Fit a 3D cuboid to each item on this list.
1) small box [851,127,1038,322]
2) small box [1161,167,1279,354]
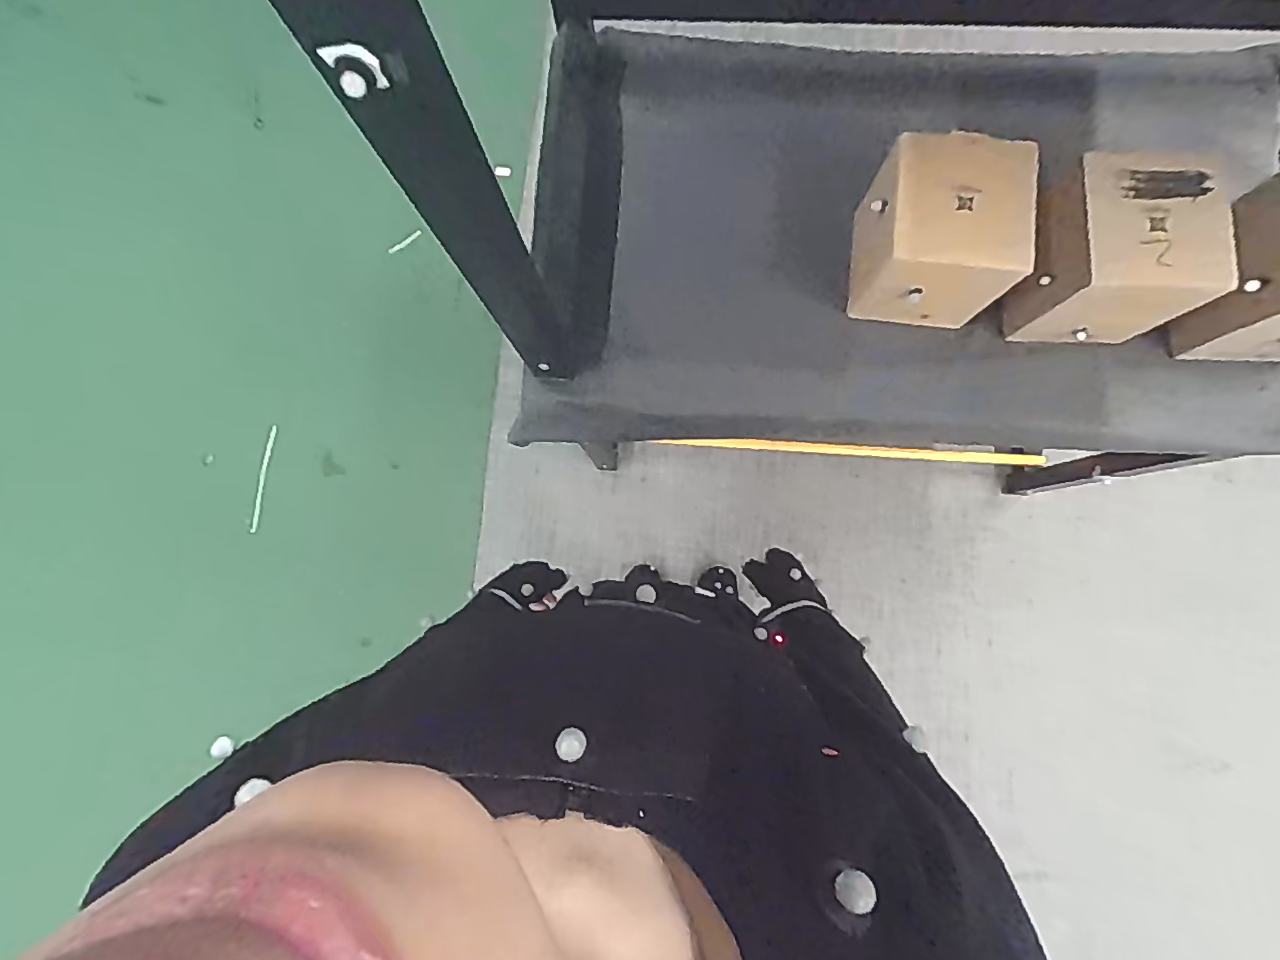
[{"bbox_3d":[0.400,-0.335,0.738,0.168,0.176,0.179,7,82,3],"label":"small box"},{"bbox_3d":[0.843,-0.275,0.707,0.168,0.176,0.179,2,82,2],"label":"small box"}]
